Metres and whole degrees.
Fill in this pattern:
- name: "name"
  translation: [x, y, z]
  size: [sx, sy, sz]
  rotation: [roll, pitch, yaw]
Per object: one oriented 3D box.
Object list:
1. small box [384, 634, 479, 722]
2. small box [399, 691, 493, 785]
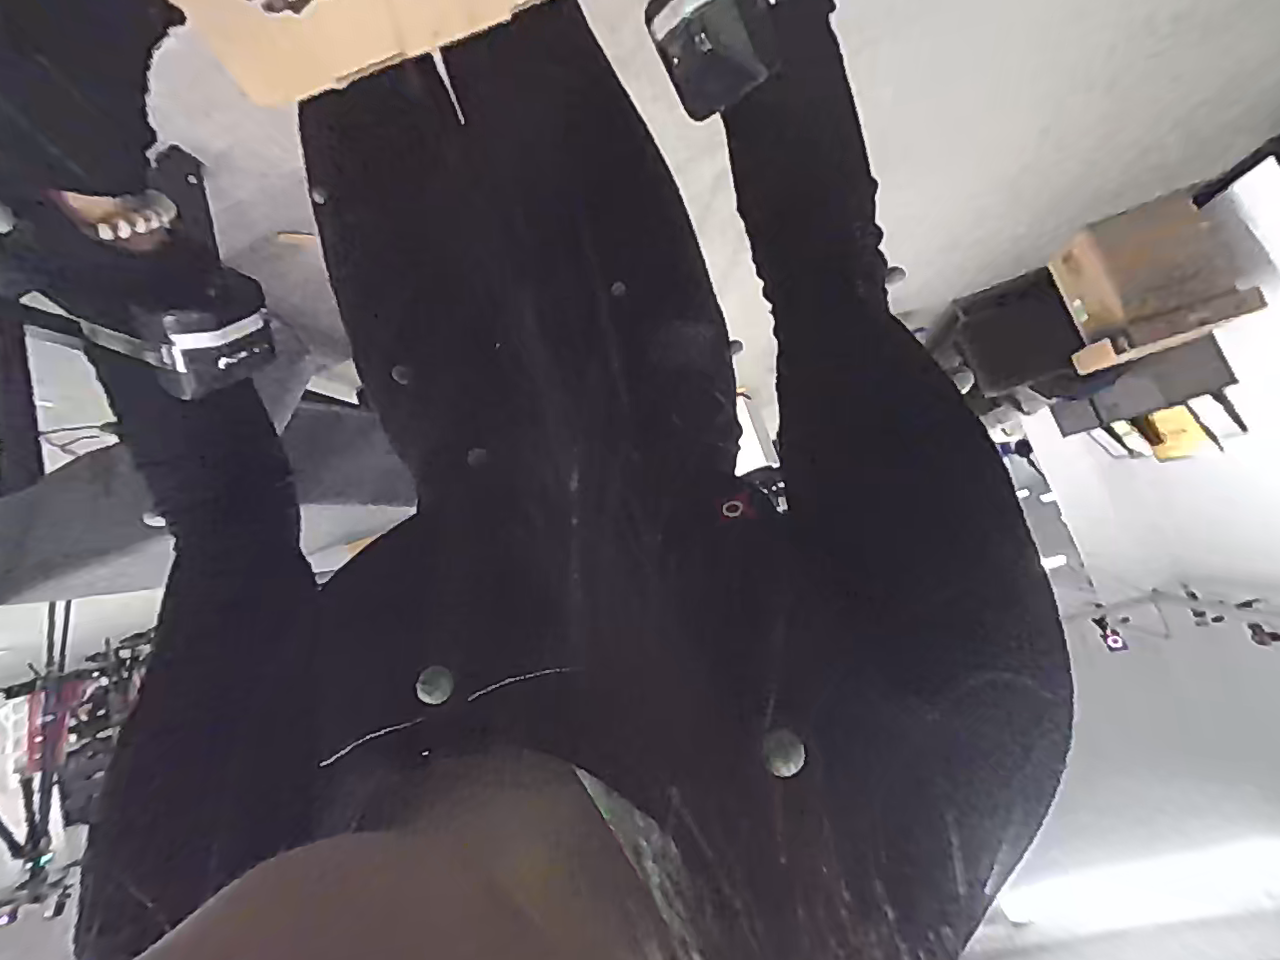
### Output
- name: "small box"
  translation: [-0.583, 0.544, 1.510]
  size: [0.168, 0.176, 0.179]
  rotation: [-20, 171, 9]
- name: "small box"
  translation: [-0.534, 0.697, 1.480]
  size: [0.179, 0.176, 0.168]
  rotation: [-19, 171, 8]
